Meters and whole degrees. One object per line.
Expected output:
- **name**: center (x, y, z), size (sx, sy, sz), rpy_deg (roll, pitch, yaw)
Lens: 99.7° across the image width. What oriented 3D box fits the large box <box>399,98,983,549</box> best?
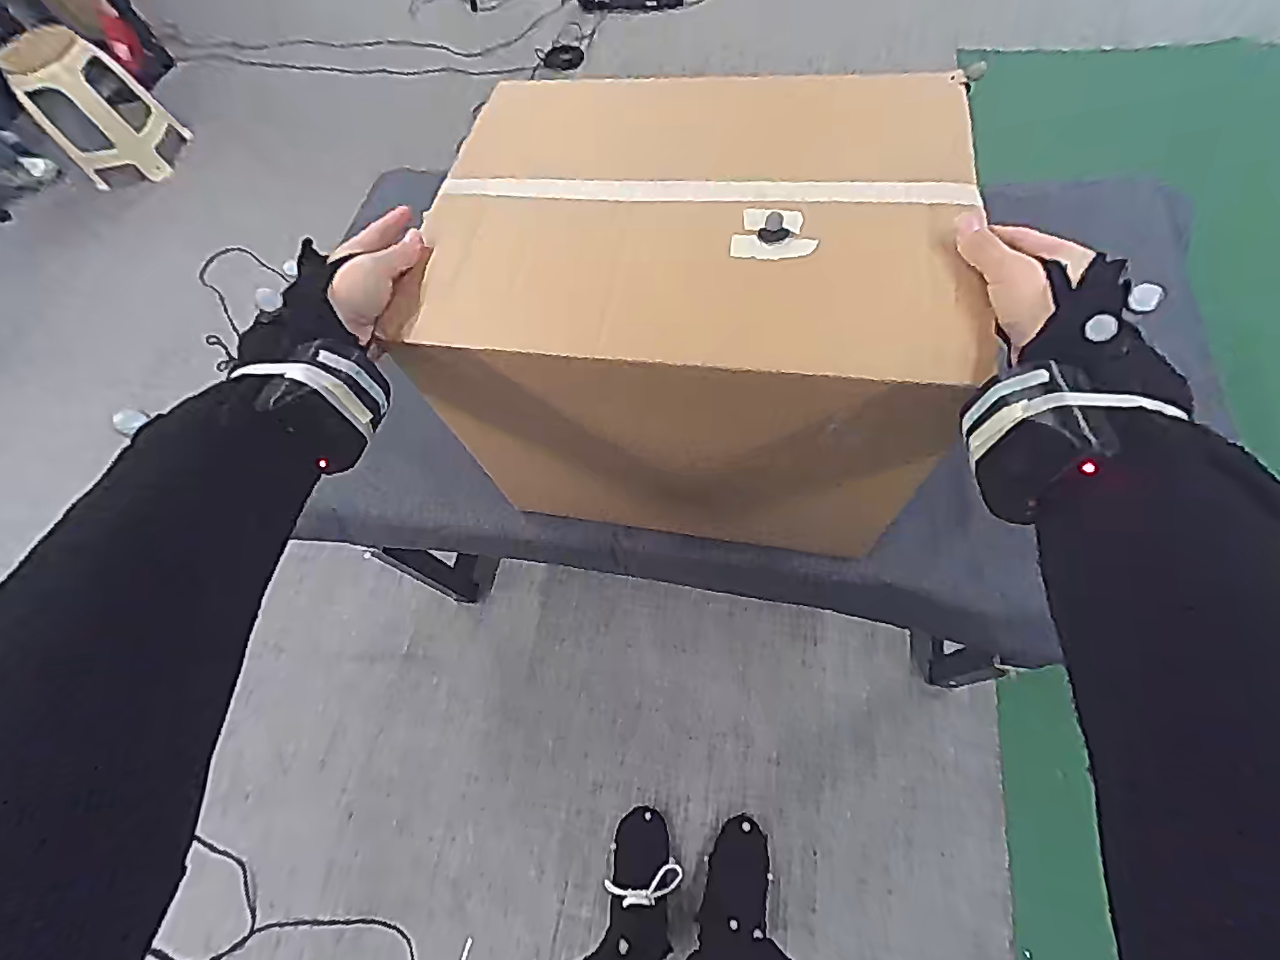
- **large box**: center (0.055, -0.144, 0.558), size (0.408, 0.320, 0.320), rpy_deg (7, 64, 10)
